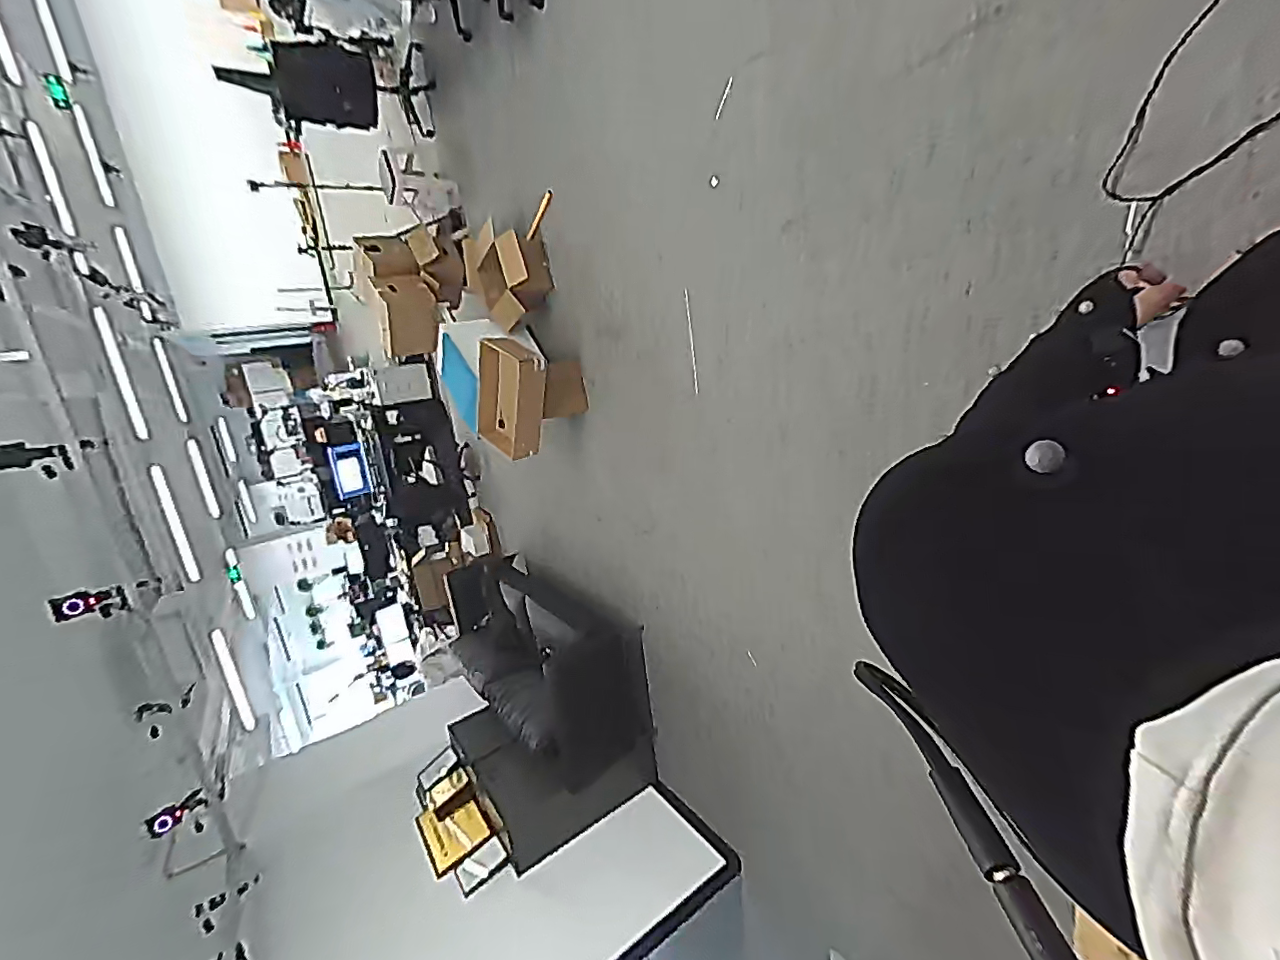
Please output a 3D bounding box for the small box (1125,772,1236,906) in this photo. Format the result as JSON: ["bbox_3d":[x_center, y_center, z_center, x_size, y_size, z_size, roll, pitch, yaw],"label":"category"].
[{"bbox_3d":[1.328,0.869,1.326,0.168,0.176,0.179,3,107,56],"label":"small box"}]

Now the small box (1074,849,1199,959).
[{"bbox_3d":[1.062,0.950,1.158,0.168,0.176,0.179,9,113,55],"label":"small box"}]

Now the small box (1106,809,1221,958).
[{"bbox_3d":[1.196,0.909,1.240,0.168,0.176,0.179,9,113,55],"label":"small box"}]
